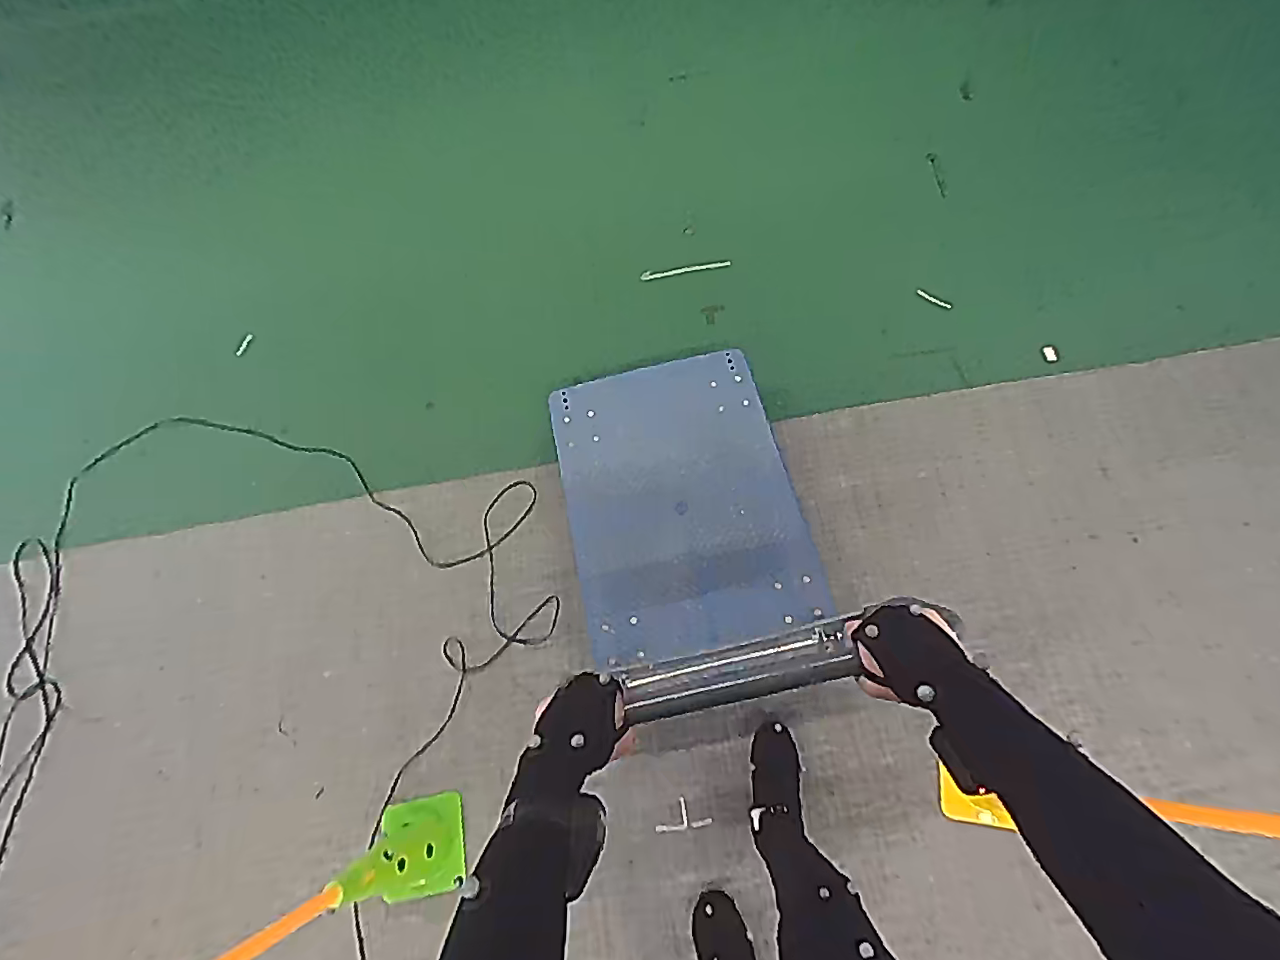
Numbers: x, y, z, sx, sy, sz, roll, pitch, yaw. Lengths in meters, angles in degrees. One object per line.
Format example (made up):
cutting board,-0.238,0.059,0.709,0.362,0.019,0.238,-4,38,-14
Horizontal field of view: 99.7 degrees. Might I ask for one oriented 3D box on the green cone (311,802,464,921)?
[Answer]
green cone,-0.542,0.826,1.128,0.202,0.368,0.200,-14,66,2
